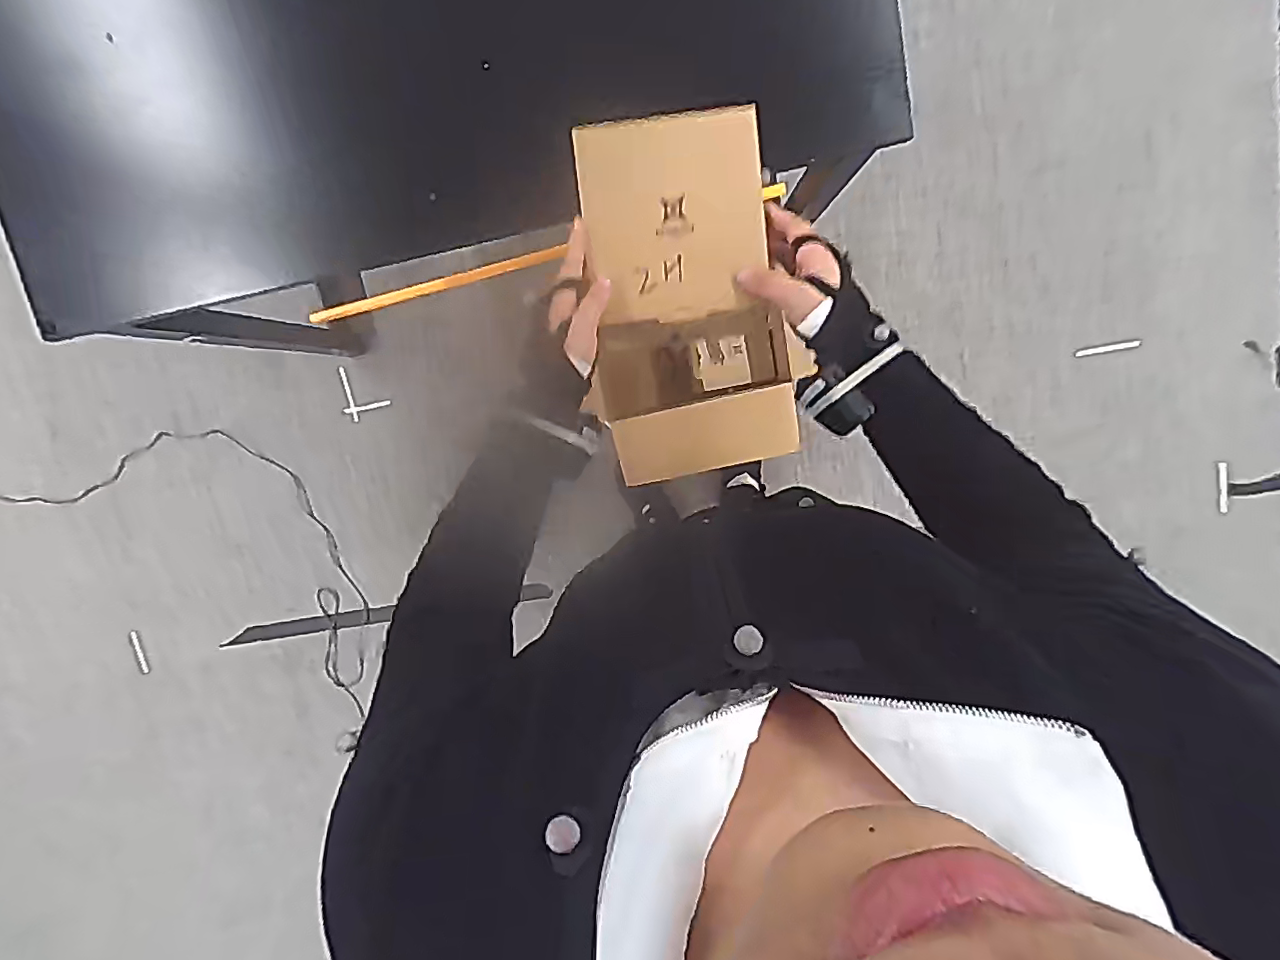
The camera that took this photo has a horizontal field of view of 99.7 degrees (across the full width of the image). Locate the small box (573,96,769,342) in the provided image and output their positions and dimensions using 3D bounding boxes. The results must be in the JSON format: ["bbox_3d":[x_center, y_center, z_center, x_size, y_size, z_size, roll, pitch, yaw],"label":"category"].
[{"bbox_3d":[0.029,-0.250,0.560,0.168,0.176,0.179,-6,97,2],"label":"small box"}]
